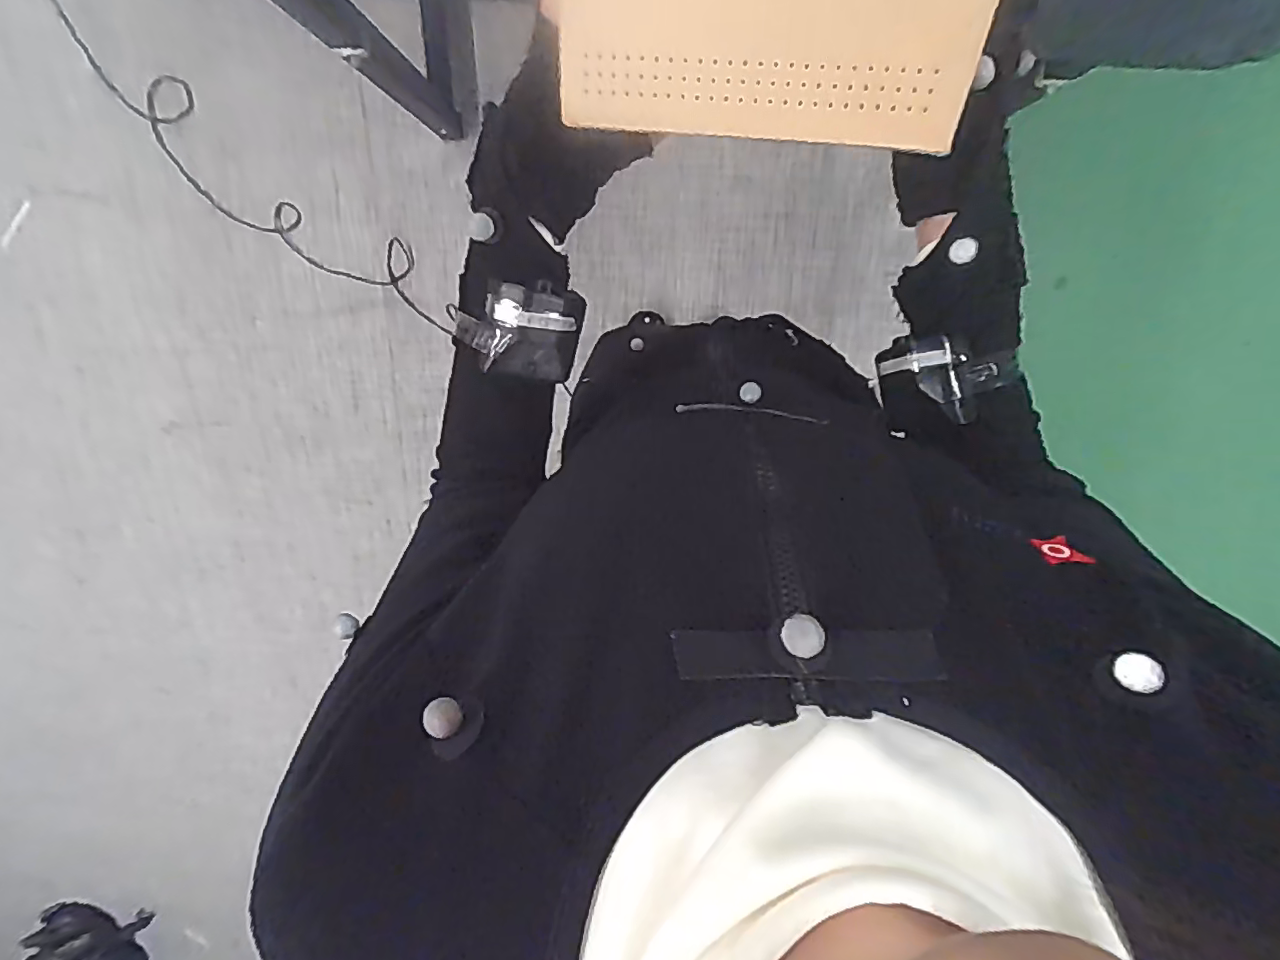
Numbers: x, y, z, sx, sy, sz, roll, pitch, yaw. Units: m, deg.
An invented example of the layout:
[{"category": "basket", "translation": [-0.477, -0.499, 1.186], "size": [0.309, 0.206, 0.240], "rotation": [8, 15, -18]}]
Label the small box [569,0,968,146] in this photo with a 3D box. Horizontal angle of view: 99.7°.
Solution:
[{"category": "small box", "translation": [0.070, -0.274, 0.274], "size": [0.179, 0.168, 0.176], "rotation": [9, 126, 9]}]
